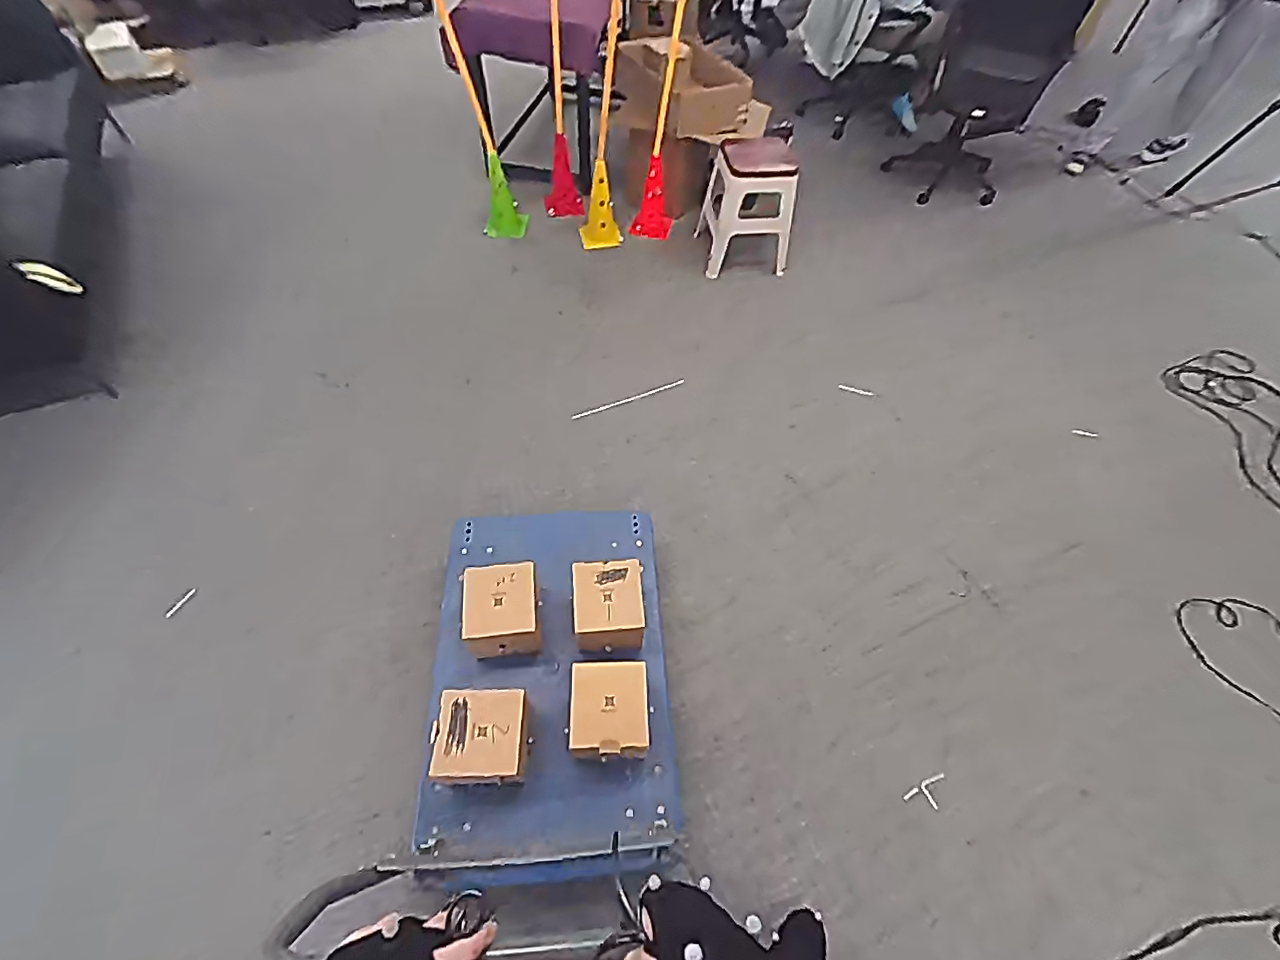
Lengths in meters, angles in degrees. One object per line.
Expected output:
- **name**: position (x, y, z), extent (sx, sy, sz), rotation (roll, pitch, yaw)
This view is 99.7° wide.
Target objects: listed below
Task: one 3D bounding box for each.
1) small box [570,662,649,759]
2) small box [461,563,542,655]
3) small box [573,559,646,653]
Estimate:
- **small box**: position (-0.069, 0.523, 1.223), extent (0.168, 0.176, 0.179), rotation (-1, 58, -3)
- **small box**: position (-0.335, 0.325, 1.336), extent (0.168, 0.176, 0.179), rotation (-5, 57, -7)
- **small box**: position (-0.079, 0.317, 1.354), extent (0.168, 0.176, 0.179), rotation (-5, 57, -5)
